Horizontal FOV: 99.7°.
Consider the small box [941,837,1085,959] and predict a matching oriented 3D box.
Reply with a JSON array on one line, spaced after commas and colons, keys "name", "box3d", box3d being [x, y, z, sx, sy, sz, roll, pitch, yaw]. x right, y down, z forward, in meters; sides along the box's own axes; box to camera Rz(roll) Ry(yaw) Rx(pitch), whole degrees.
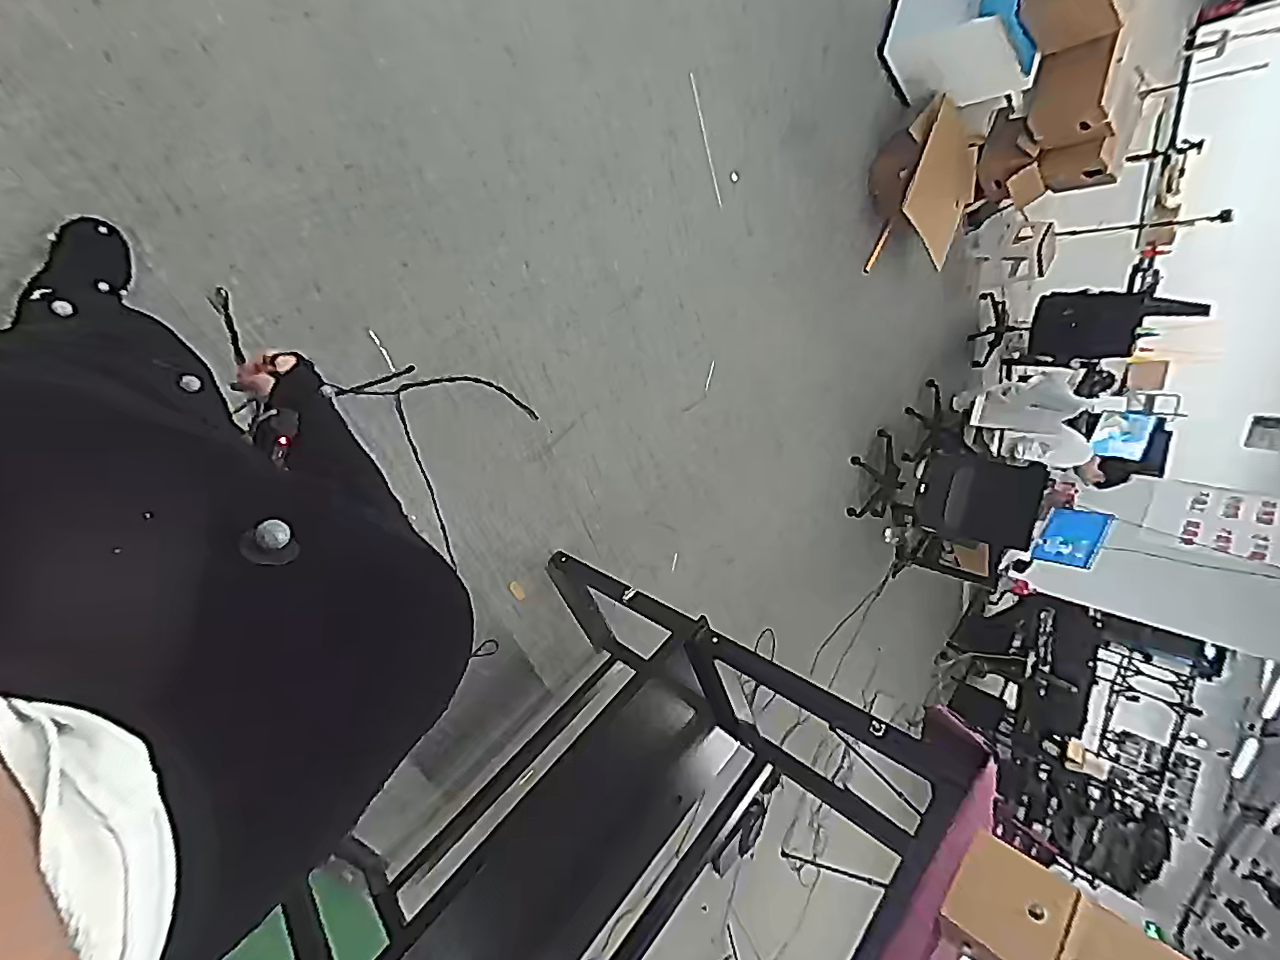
[{"name": "small box", "box3d": [0.664, 0.796, 0.973, 0.179, 0.176, 0.168, -43, 127, -25]}]

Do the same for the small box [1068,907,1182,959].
[{"name": "small box", "box3d": [0.774, 0.833, 0.860, 0.168, 0.176, 0.179, -45, 128, -25]}]
